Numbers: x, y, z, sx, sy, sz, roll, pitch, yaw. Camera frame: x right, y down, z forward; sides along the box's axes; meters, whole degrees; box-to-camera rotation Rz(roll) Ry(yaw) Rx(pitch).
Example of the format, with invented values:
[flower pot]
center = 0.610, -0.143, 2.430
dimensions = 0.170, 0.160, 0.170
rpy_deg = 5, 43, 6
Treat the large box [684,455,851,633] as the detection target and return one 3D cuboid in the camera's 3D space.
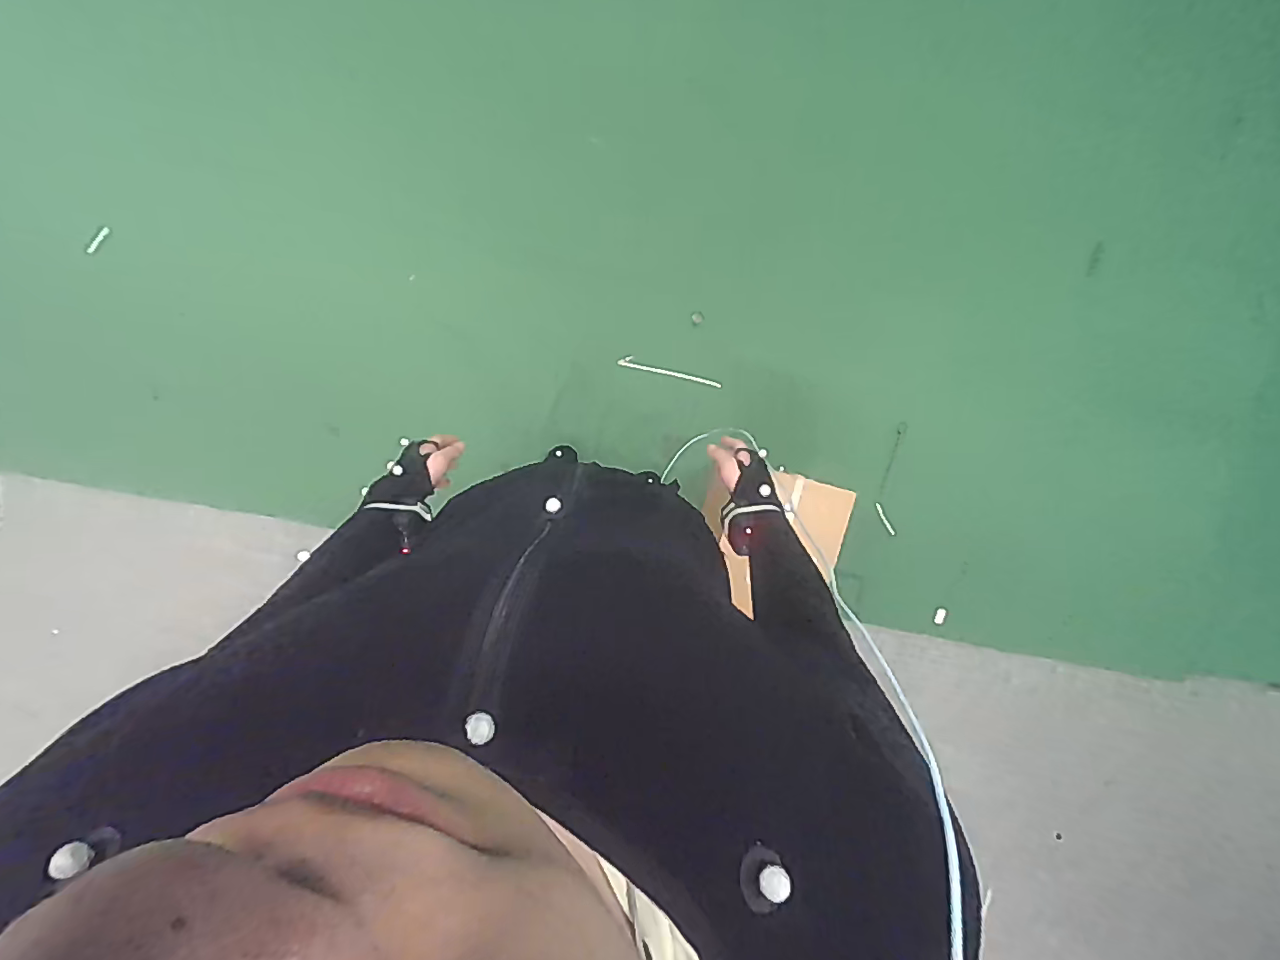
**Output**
[large box]
center = 0.341, 0.162, 1.544
dimensions = 0.320, 0.320, 0.408
rpy_deg = 15, 95, -5
